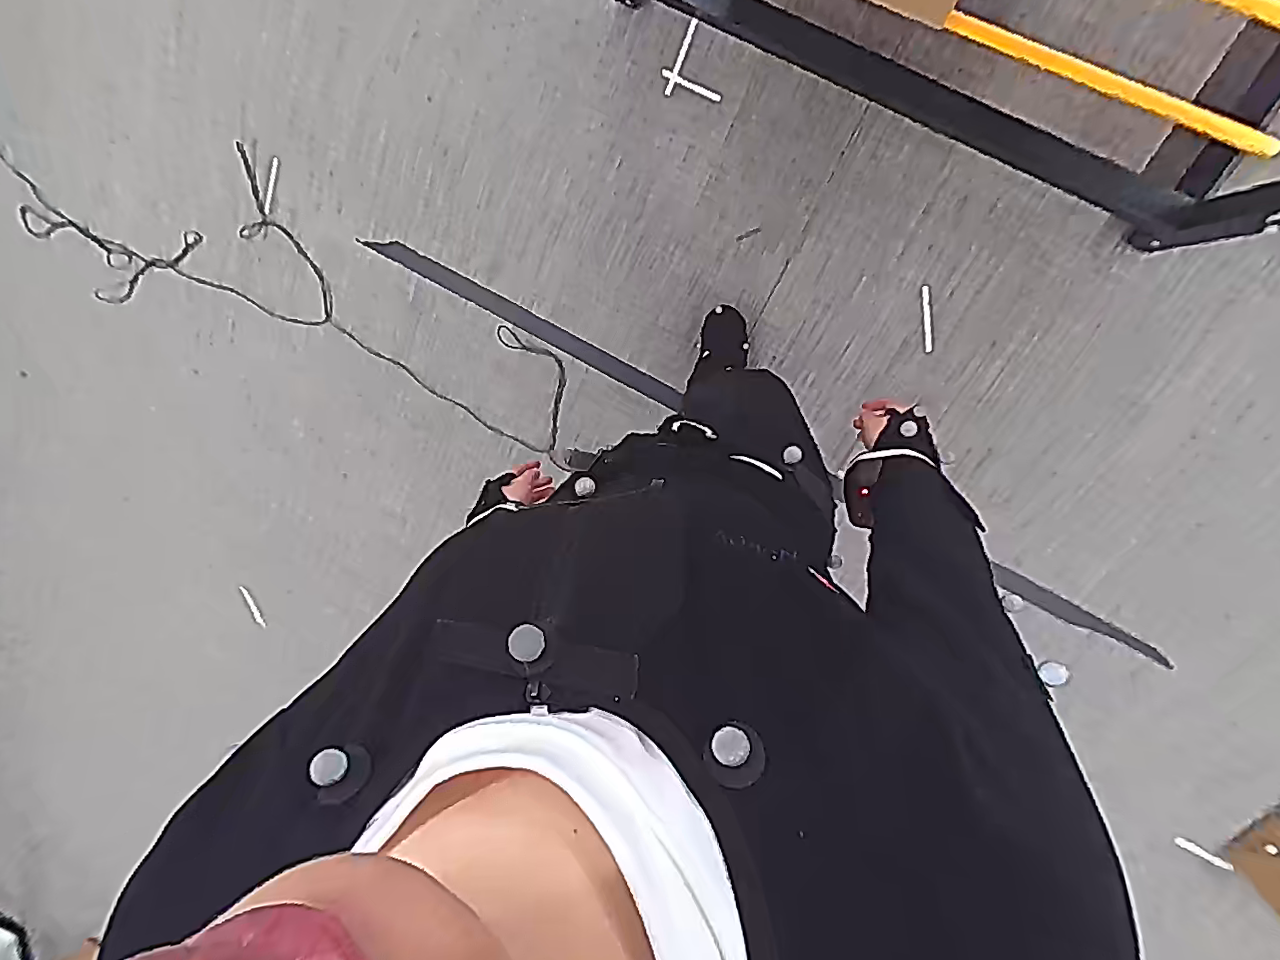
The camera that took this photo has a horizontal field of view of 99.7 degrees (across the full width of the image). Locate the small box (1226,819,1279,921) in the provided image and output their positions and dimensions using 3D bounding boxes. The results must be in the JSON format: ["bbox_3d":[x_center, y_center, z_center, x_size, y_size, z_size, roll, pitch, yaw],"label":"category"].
[{"bbox_3d":[1.562,0.939,1.255,0.179,0.176,0.168,28,111,4],"label":"small box"}]
